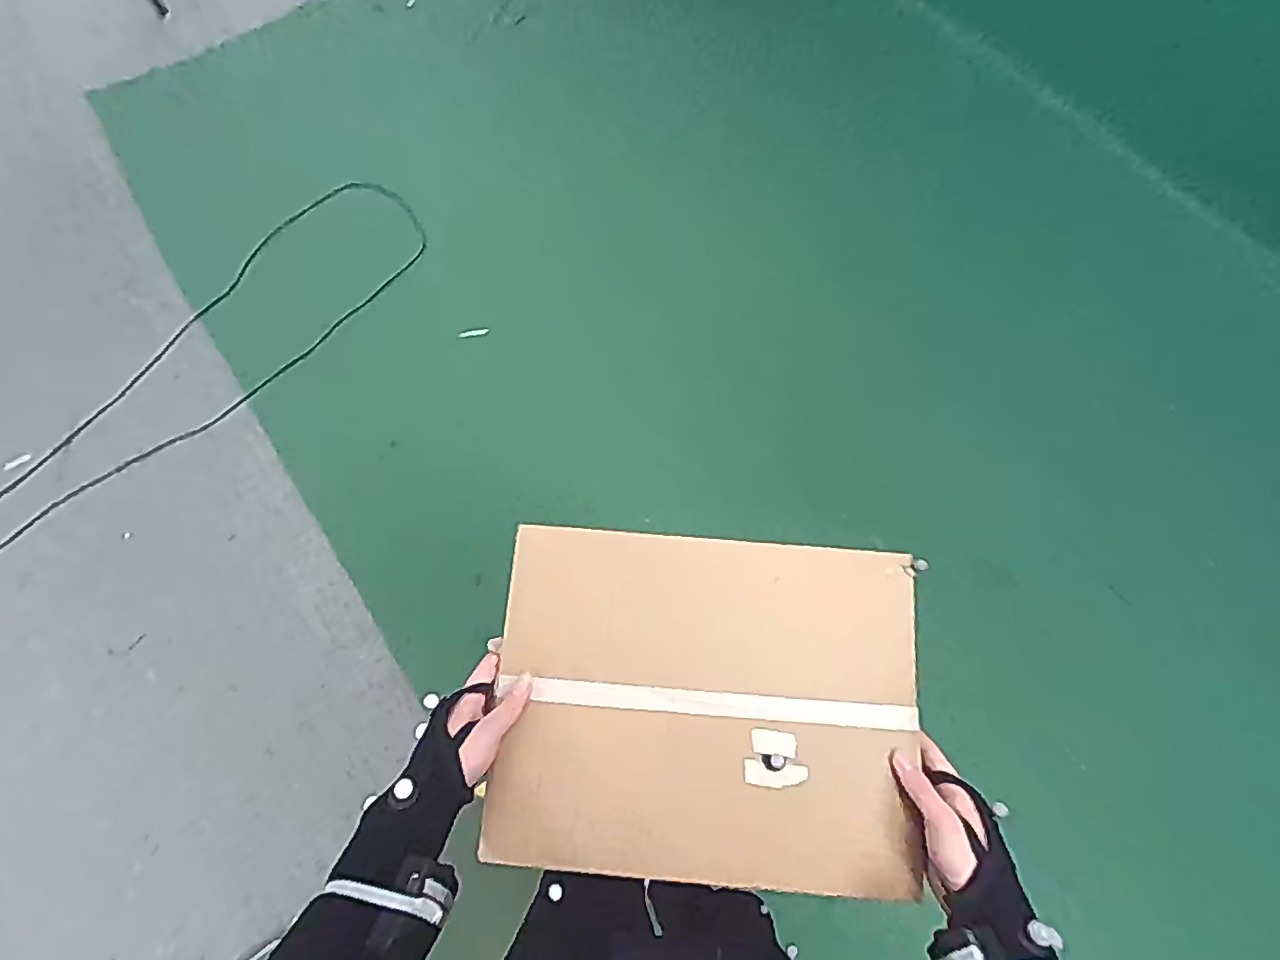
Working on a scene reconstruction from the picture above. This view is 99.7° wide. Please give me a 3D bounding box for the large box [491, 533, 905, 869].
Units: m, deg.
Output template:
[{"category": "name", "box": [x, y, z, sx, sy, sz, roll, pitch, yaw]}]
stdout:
[{"category": "large box", "box": [0.057, 0.246, 0.688, 0.408, 0.320, 0.320, 3, 79, 0]}]
